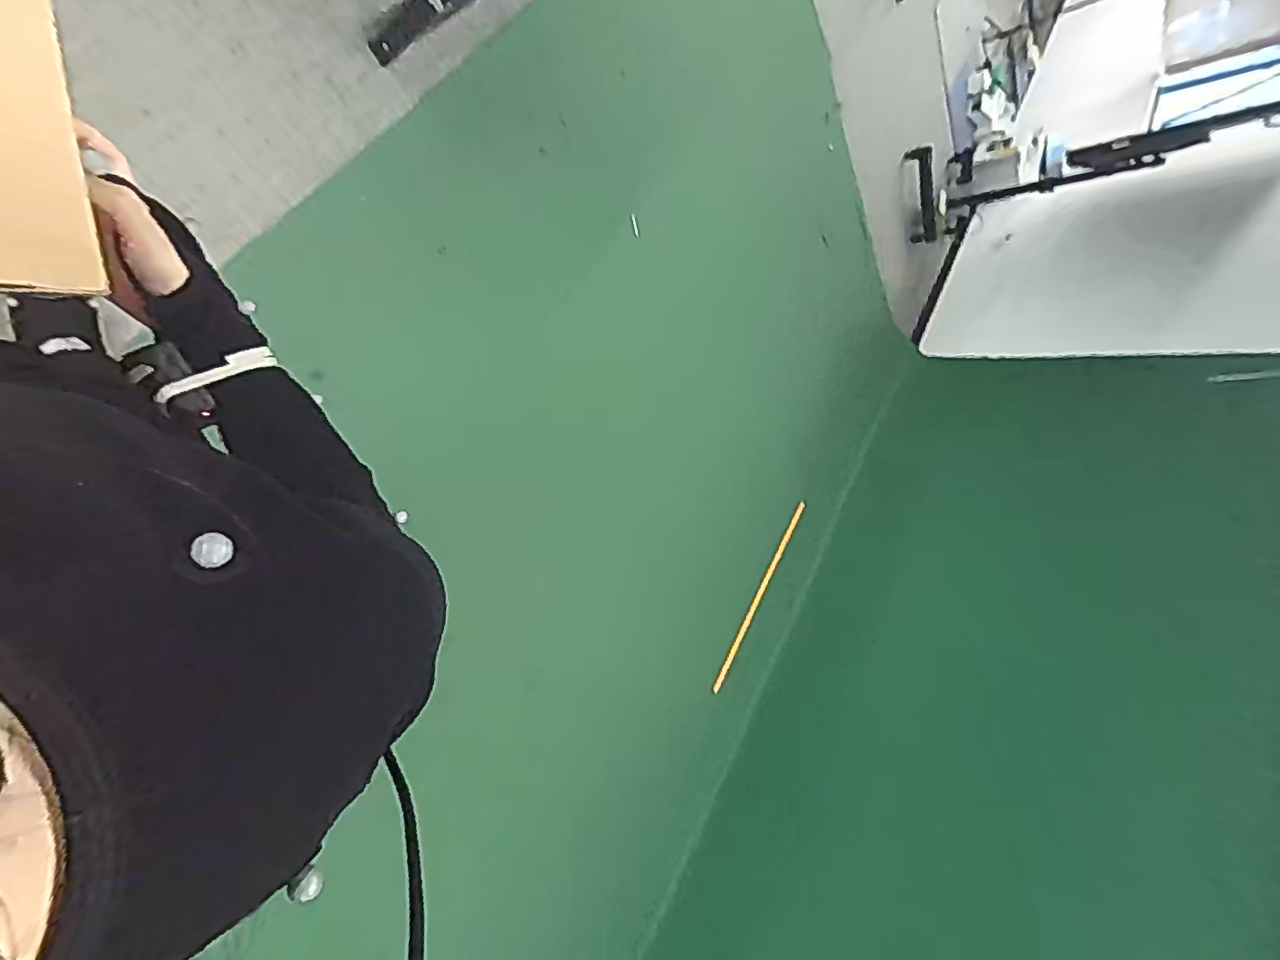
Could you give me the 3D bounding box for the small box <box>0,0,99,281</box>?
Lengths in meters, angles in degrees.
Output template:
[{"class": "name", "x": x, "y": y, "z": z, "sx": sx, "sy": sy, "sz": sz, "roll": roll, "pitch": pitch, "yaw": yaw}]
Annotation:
[{"class": "small box", "x": -0.424, "y": -0.203, "z": 0.274, "sx": 0.168, "sy": 0.176, "sz": 0.179, "roll": -18, "pitch": 118, "yaw": -53}]
